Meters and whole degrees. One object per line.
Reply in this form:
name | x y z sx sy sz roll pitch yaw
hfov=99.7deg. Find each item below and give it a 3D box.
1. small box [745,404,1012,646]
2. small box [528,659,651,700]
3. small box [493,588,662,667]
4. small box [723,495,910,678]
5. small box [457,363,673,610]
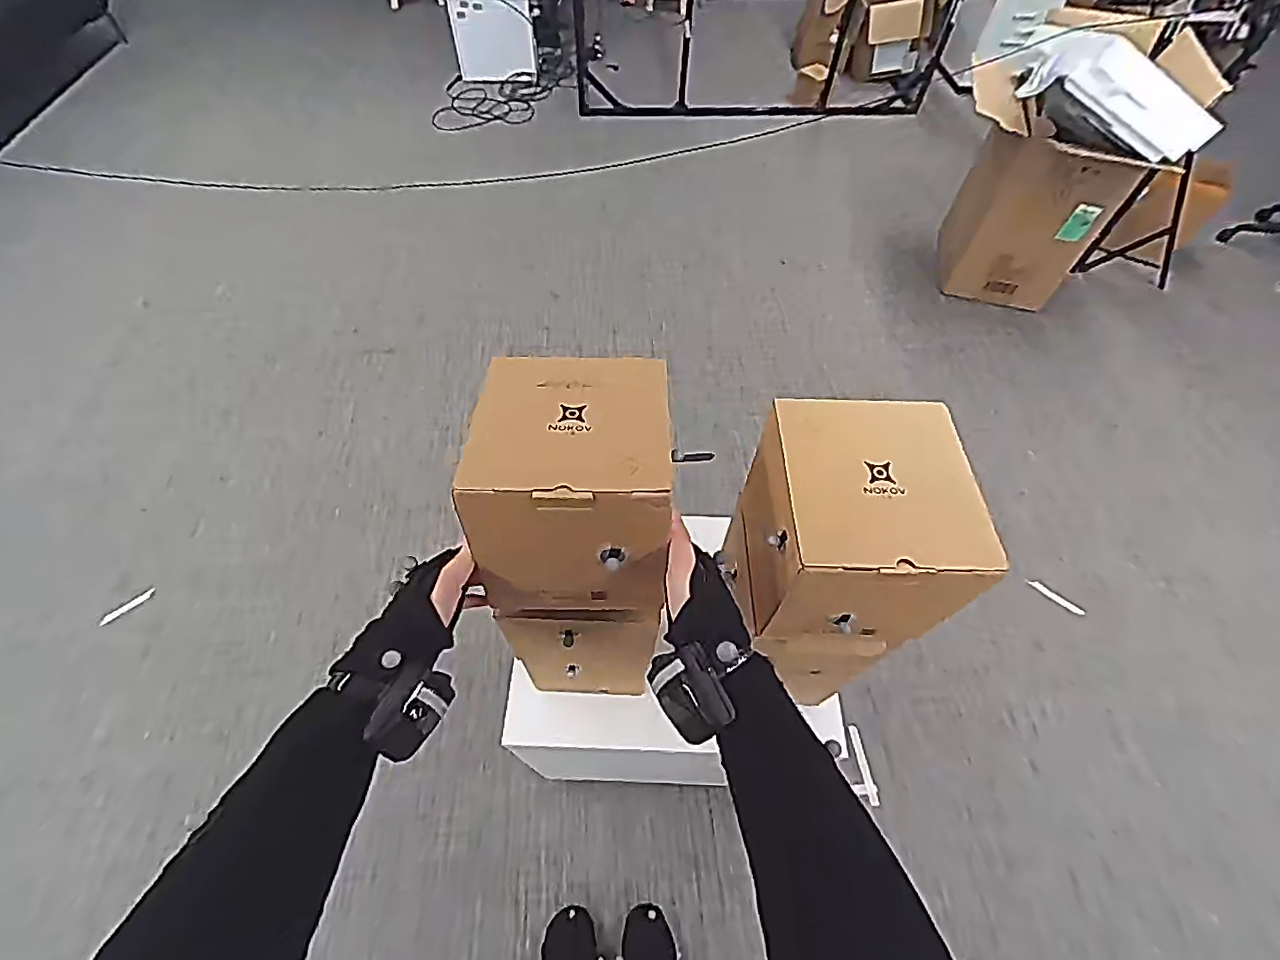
small box | 0.204 0.048 0.527 0.168 0.176 0.179 1 57 -1
small box | -0.067 0.211 0.802 0.168 0.176 0.179 4 55 0
small box | -0.063 0.123 0.662 0.179 0.176 0.168 3 57 0
small box | 0.199 0.136 0.664 0.168 0.176 0.179 1 56 -1
small box | -0.054 0.008 0.513 0.168 0.176 0.179 1 46 -1
